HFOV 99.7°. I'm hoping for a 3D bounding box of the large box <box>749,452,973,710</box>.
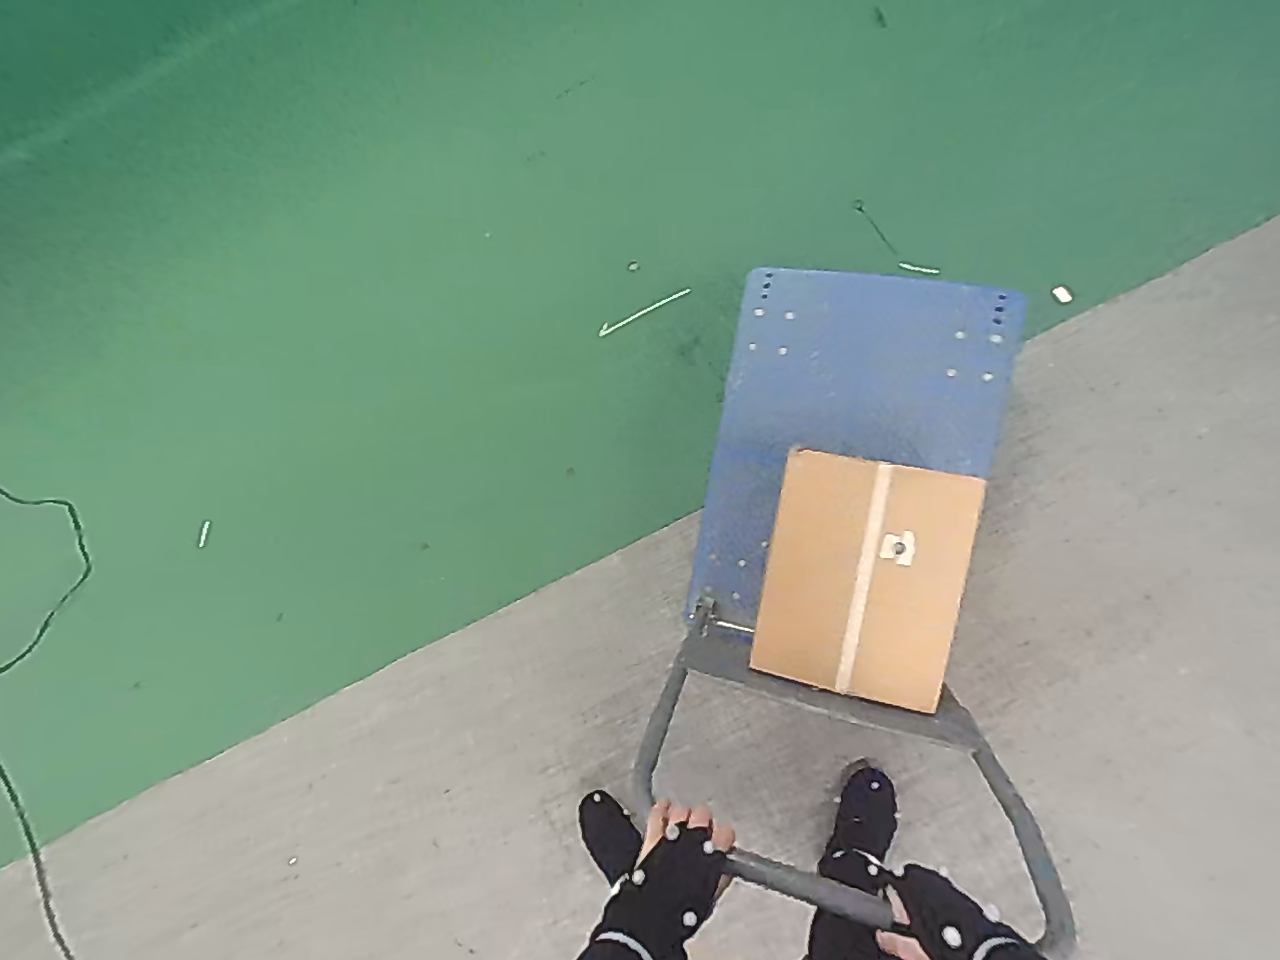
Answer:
[{"bbox_3d":[0.412,0.170,1.083,0.320,0.320,0.408,11,93,13],"label":"large box"}]
